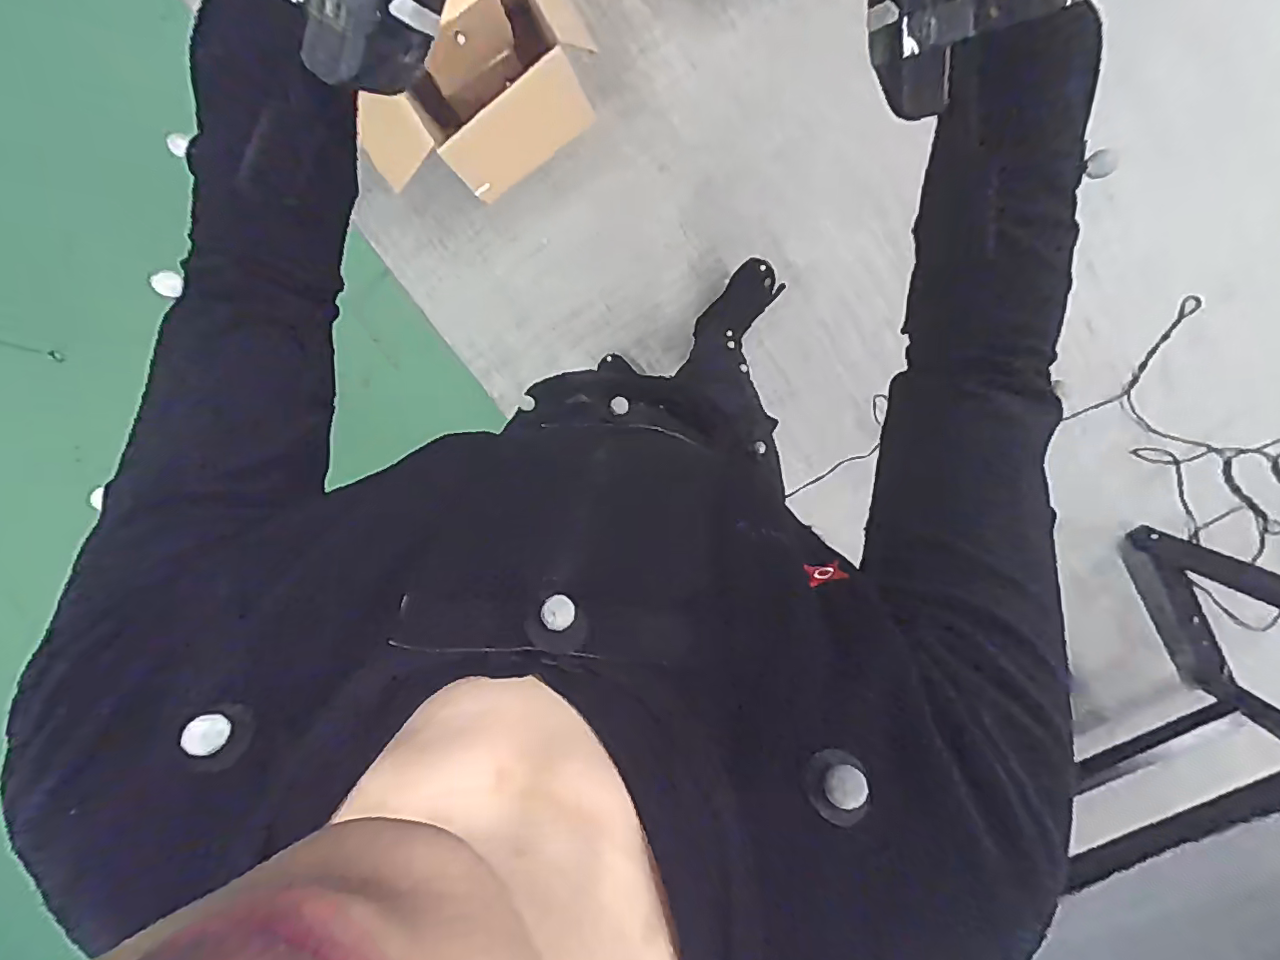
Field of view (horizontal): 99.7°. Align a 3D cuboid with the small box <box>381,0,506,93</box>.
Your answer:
[{"bbox_3d":[-0.370,-0.883,1.010,0.179,0.176,0.168,-31,100,7],"label":"small box"}]
